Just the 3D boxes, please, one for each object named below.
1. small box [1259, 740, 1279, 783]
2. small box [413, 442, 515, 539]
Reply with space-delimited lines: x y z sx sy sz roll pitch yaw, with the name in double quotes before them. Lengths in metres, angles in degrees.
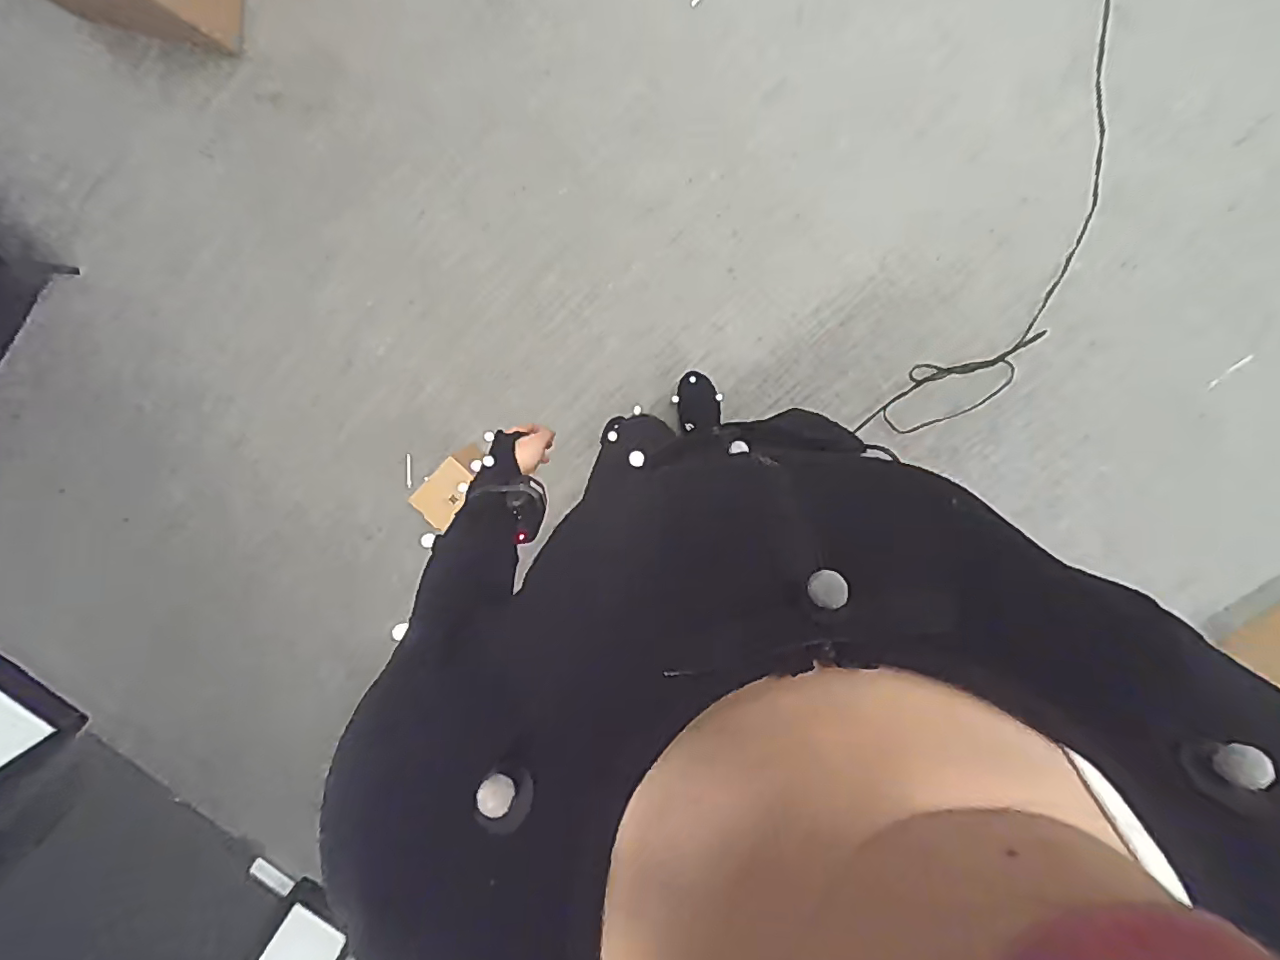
"small box" 1.666 0.718 1.280 0.168 0.176 0.179 -42 98 12
"small box" -0.465 0.024 1.460 0.179 0.176 0.168 -43 100 12
